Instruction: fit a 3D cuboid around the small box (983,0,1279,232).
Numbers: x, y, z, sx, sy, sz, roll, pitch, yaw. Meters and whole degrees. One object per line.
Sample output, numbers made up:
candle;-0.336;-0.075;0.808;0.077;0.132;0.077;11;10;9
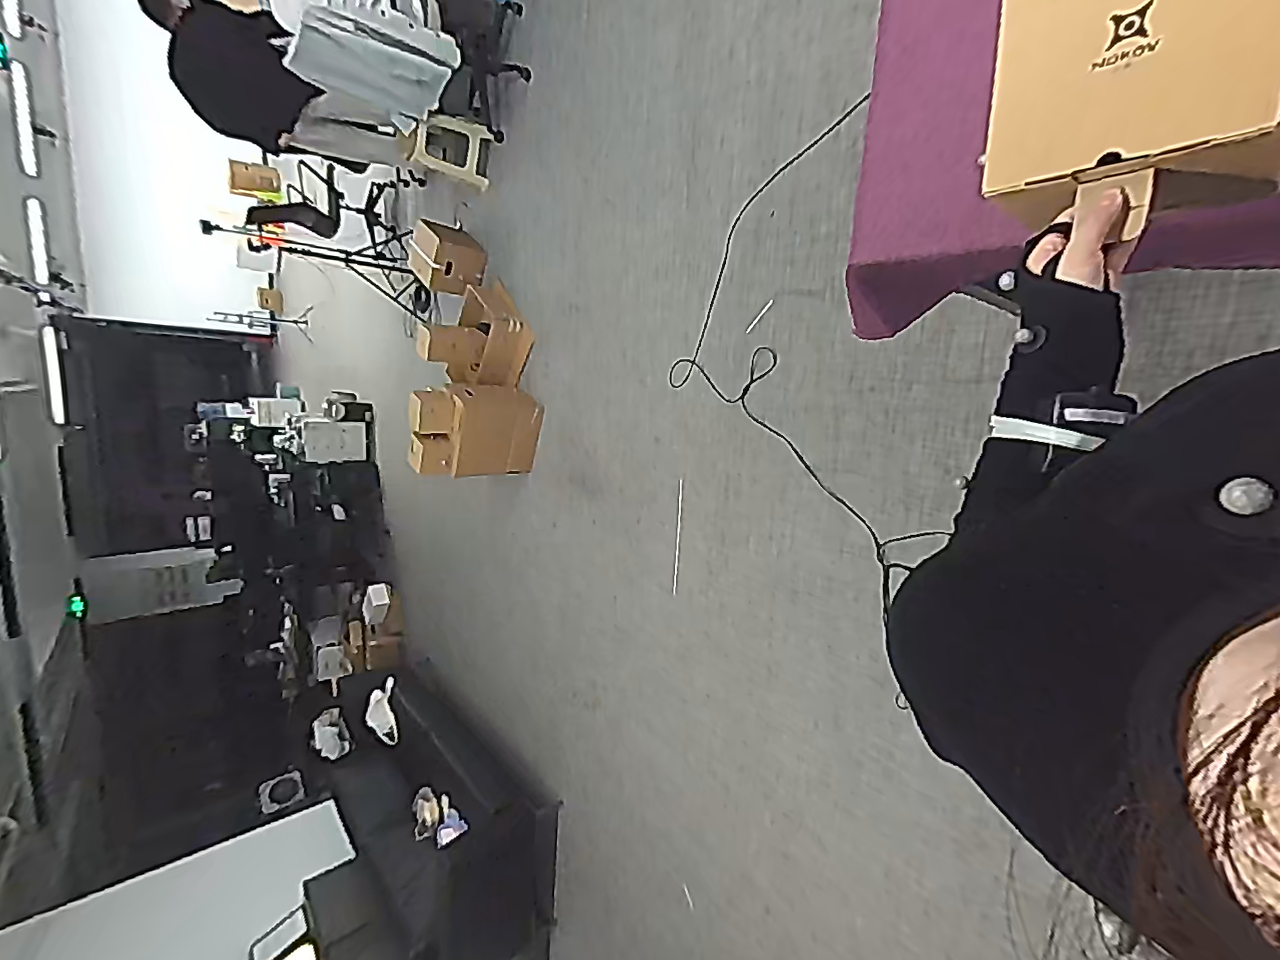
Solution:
small box;0.413;-0.328;0.449;0.168;0.176;0.179;11;105;48
